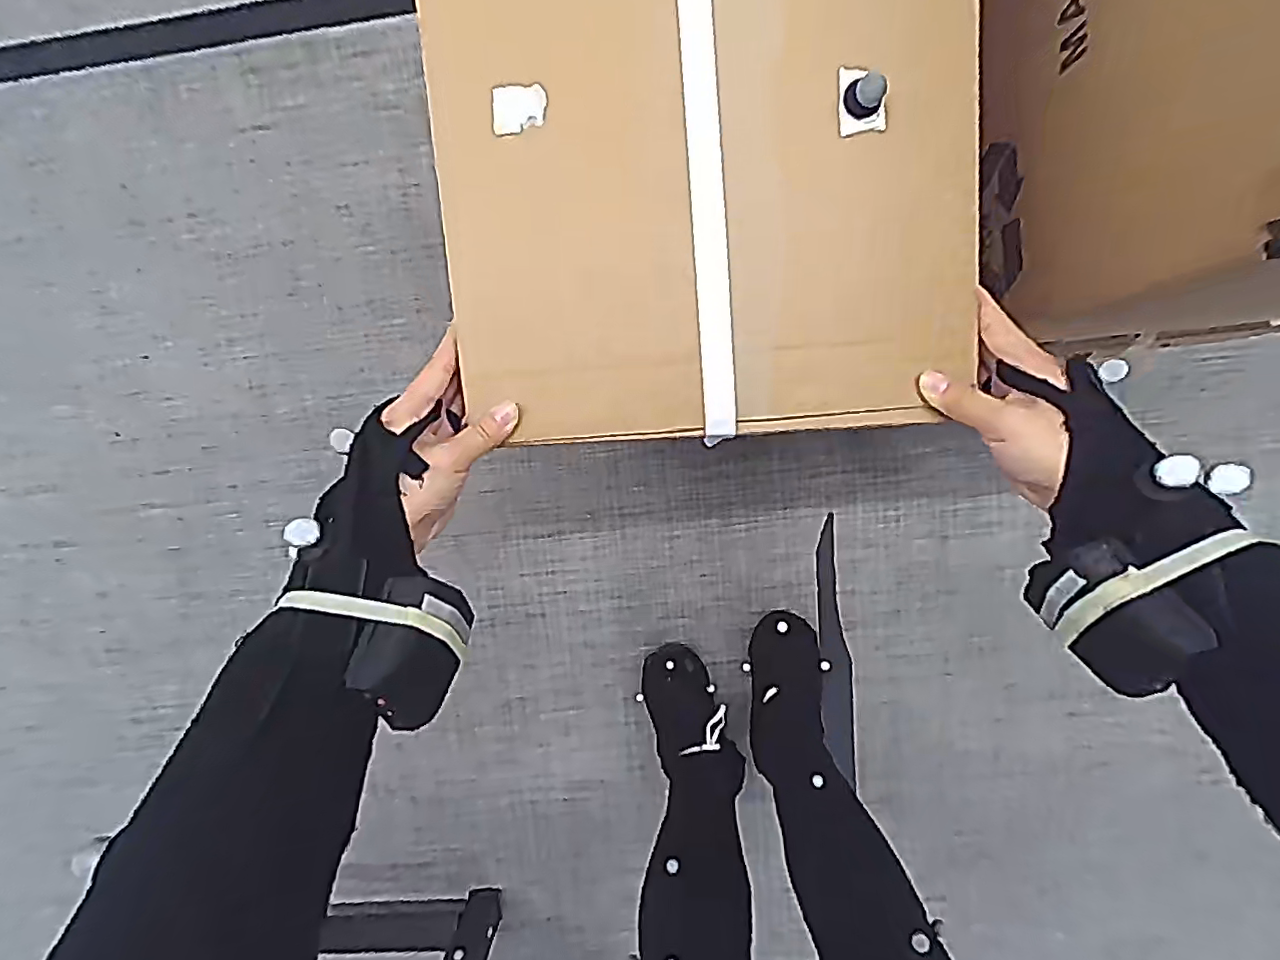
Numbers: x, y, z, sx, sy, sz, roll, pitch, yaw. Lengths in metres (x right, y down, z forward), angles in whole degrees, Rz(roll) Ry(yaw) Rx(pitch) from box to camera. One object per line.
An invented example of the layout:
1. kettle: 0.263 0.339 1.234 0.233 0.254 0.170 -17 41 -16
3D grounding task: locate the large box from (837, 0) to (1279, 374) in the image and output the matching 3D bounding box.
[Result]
1. large box: 0.446 -0.349 0.630 0.320 0.320 0.408 -6 98 4
